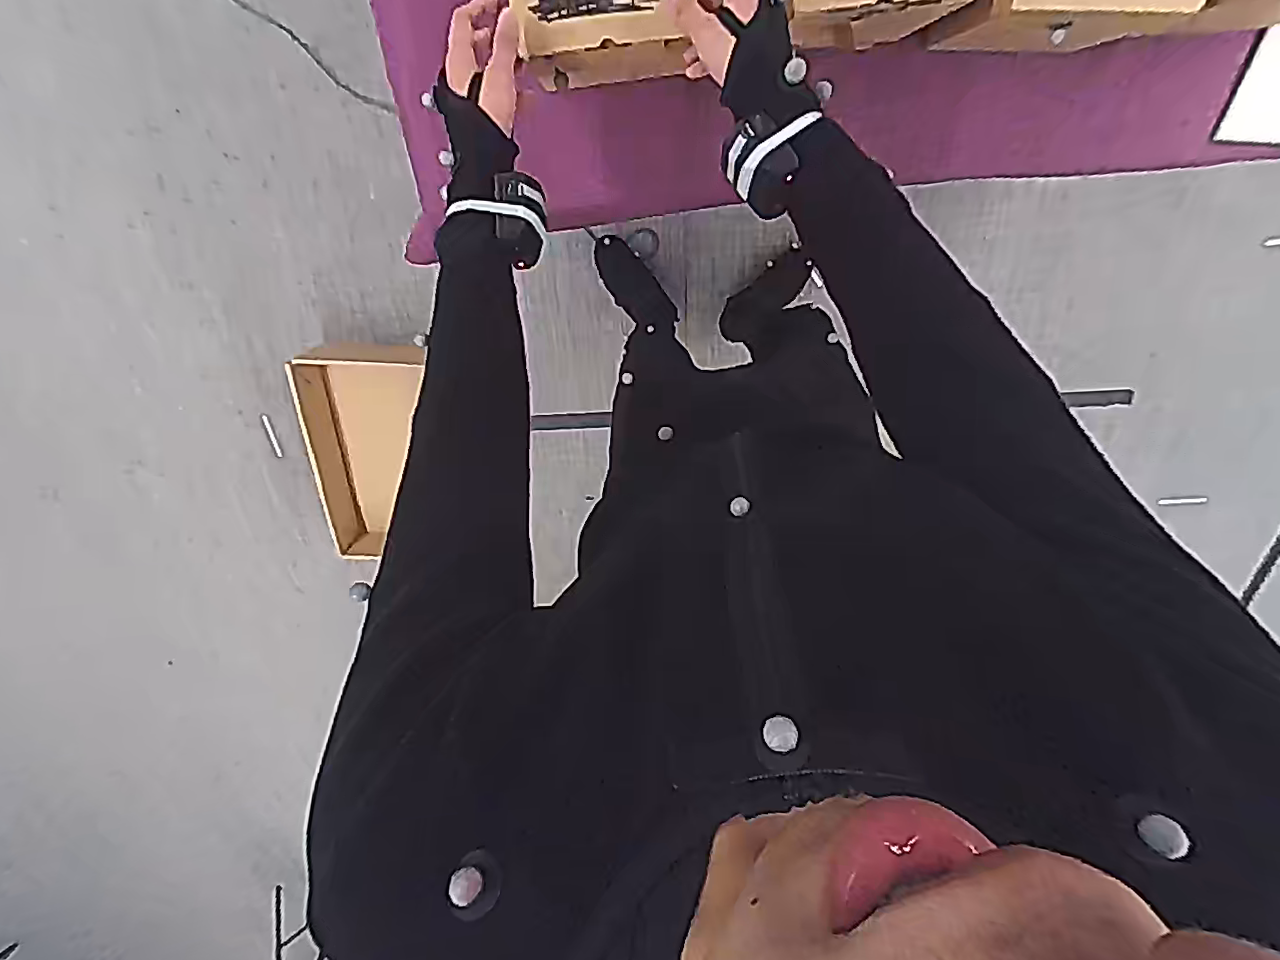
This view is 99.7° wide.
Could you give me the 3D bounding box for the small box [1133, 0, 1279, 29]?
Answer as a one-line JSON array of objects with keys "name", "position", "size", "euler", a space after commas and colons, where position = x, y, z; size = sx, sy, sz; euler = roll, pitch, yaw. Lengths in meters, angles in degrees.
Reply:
[{"name": "small box", "position": [0.627, -0.549, 0.505], "size": [0.168, 0.176, 0.179], "euler": [-2, 118, 0]}]
